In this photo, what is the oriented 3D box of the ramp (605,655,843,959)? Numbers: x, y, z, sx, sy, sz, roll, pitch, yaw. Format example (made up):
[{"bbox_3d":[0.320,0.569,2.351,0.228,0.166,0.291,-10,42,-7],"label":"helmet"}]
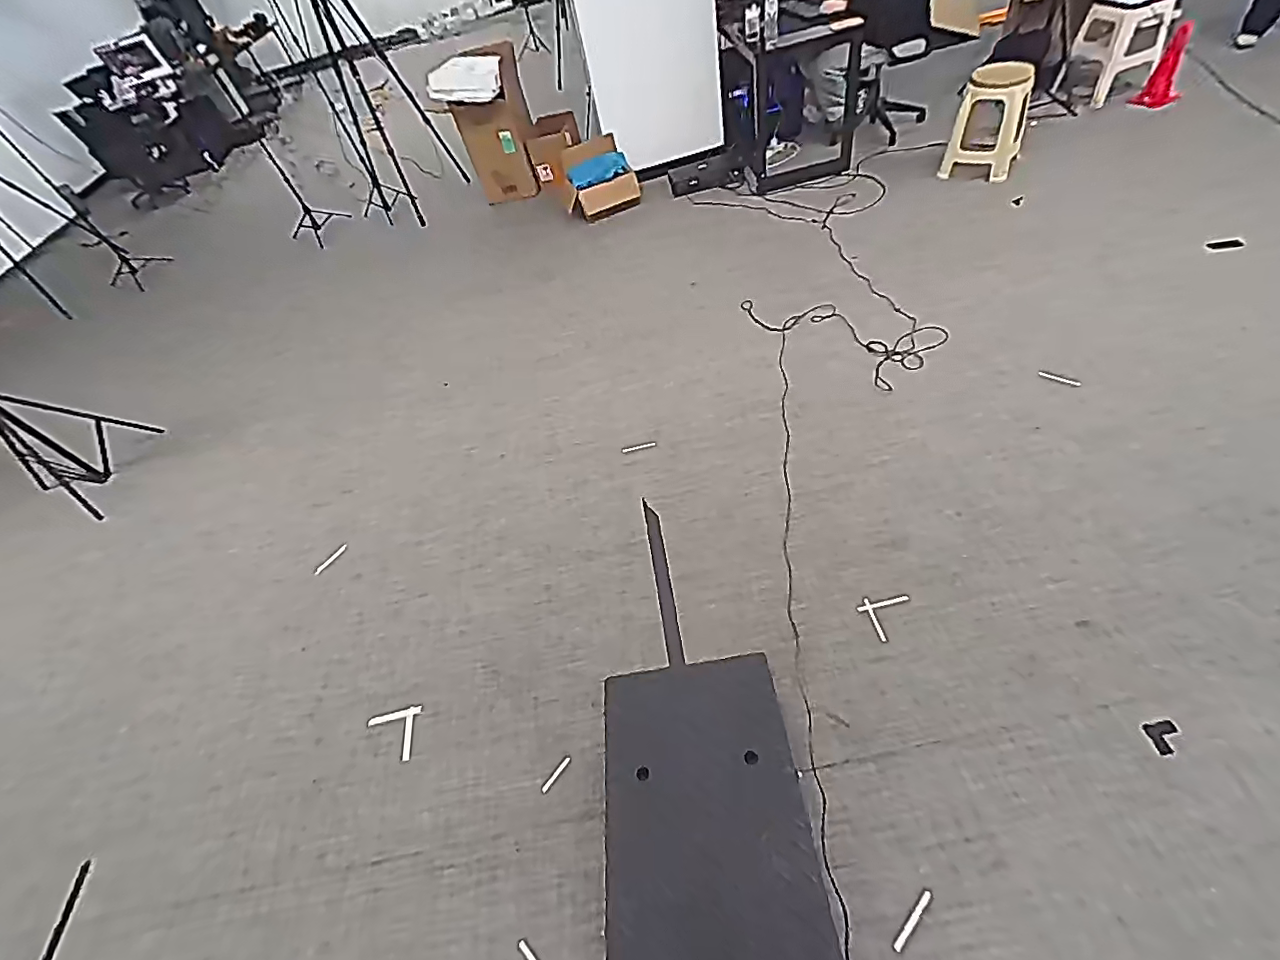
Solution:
[{"bbox_3d":[0.156,0.882,1.240,0.509,0.206,0.991,-13,49,5],"label":"ramp"}]
